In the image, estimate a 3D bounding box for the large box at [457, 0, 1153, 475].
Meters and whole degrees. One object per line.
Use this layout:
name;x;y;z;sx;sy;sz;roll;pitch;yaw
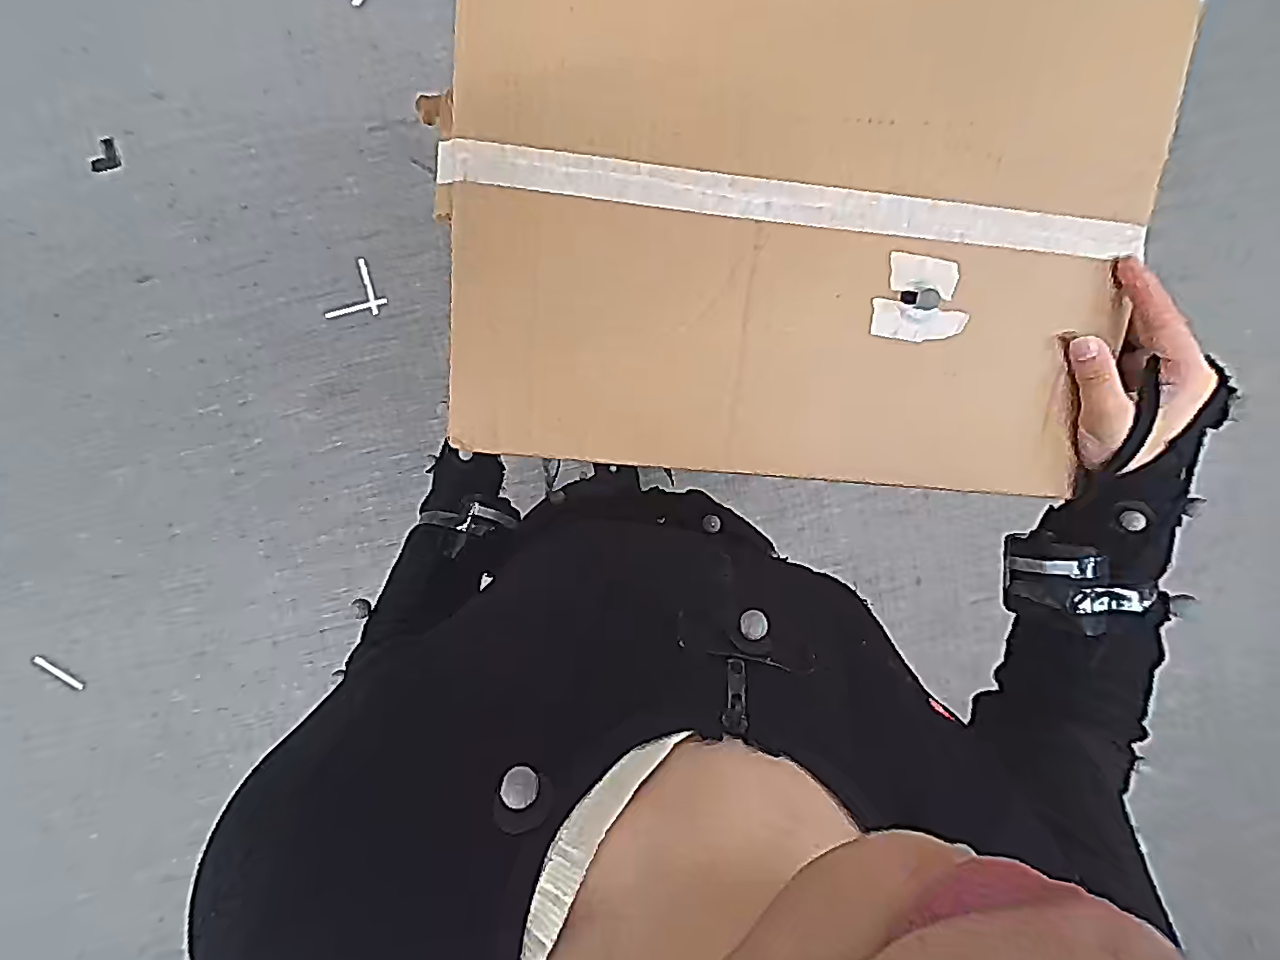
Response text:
large box;0.080;-0.188;0.465;0.408;0.320;0.320;3;102;-7
